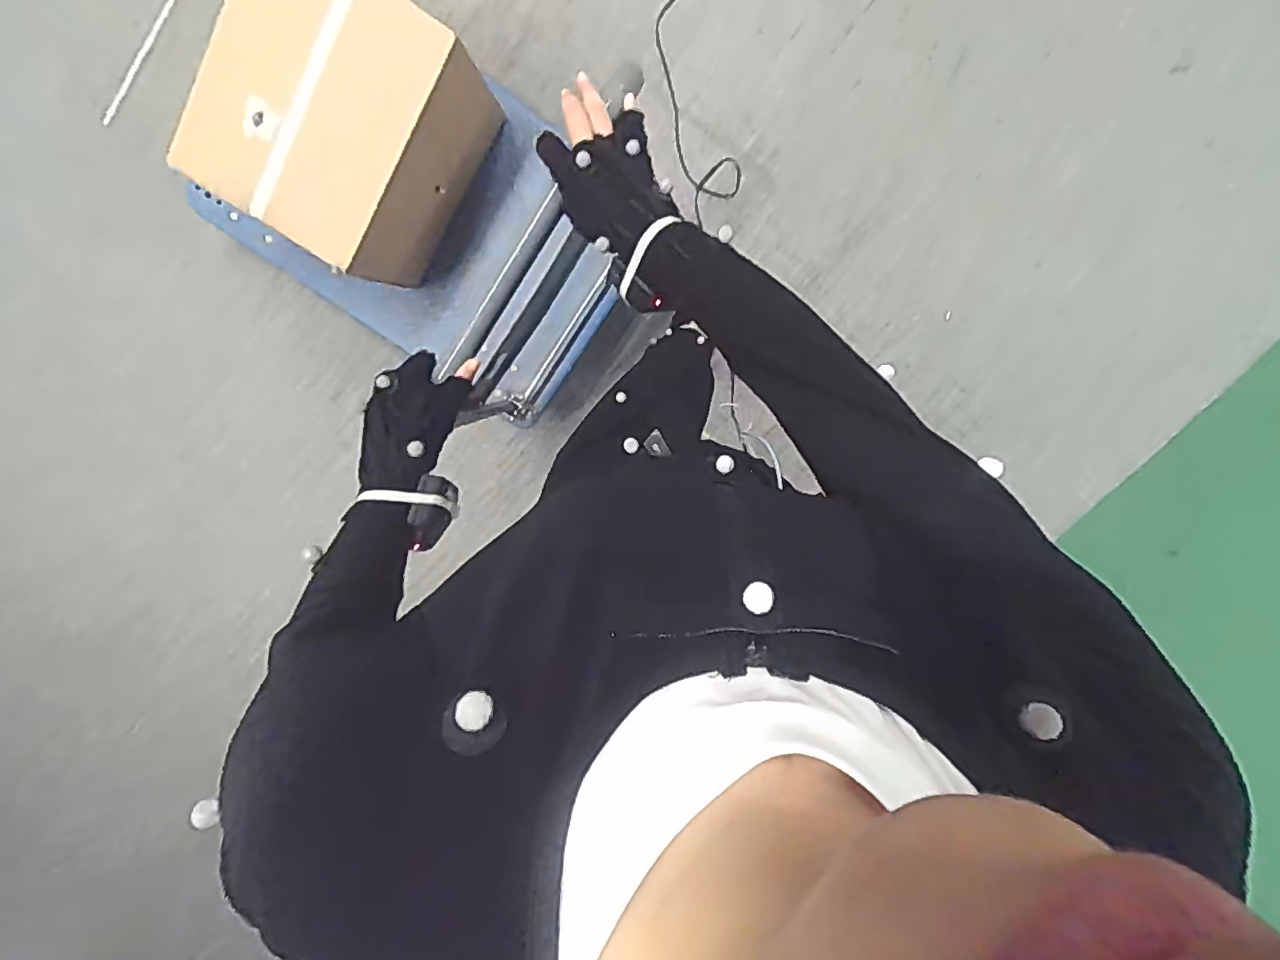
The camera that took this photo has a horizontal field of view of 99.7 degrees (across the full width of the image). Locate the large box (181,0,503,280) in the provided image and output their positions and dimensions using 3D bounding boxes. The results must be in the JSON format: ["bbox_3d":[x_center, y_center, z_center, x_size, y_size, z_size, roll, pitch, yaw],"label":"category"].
[{"bbox_3d":[-0.503,-0.635,0.983,0.320,0.320,0.408,32,104,-7],"label":"large box"}]
